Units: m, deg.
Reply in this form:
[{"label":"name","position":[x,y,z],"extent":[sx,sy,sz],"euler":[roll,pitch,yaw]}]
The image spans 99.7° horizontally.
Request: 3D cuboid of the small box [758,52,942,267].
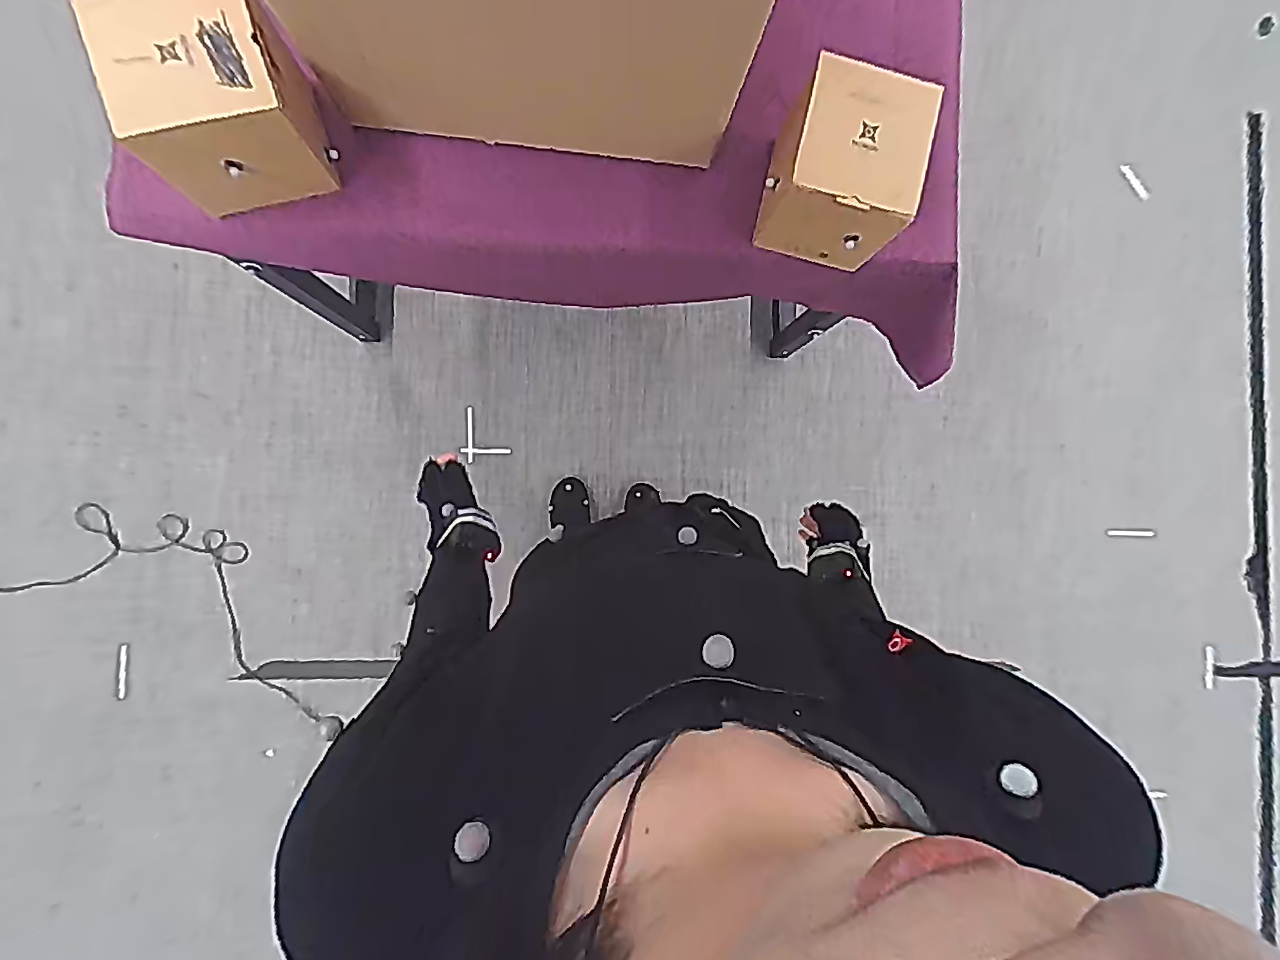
[{"label":"small box","position":[0.275,-0.423,0.746],"extent":[0.168,0.176,0.179],"euler":[13,86,-5]}]
